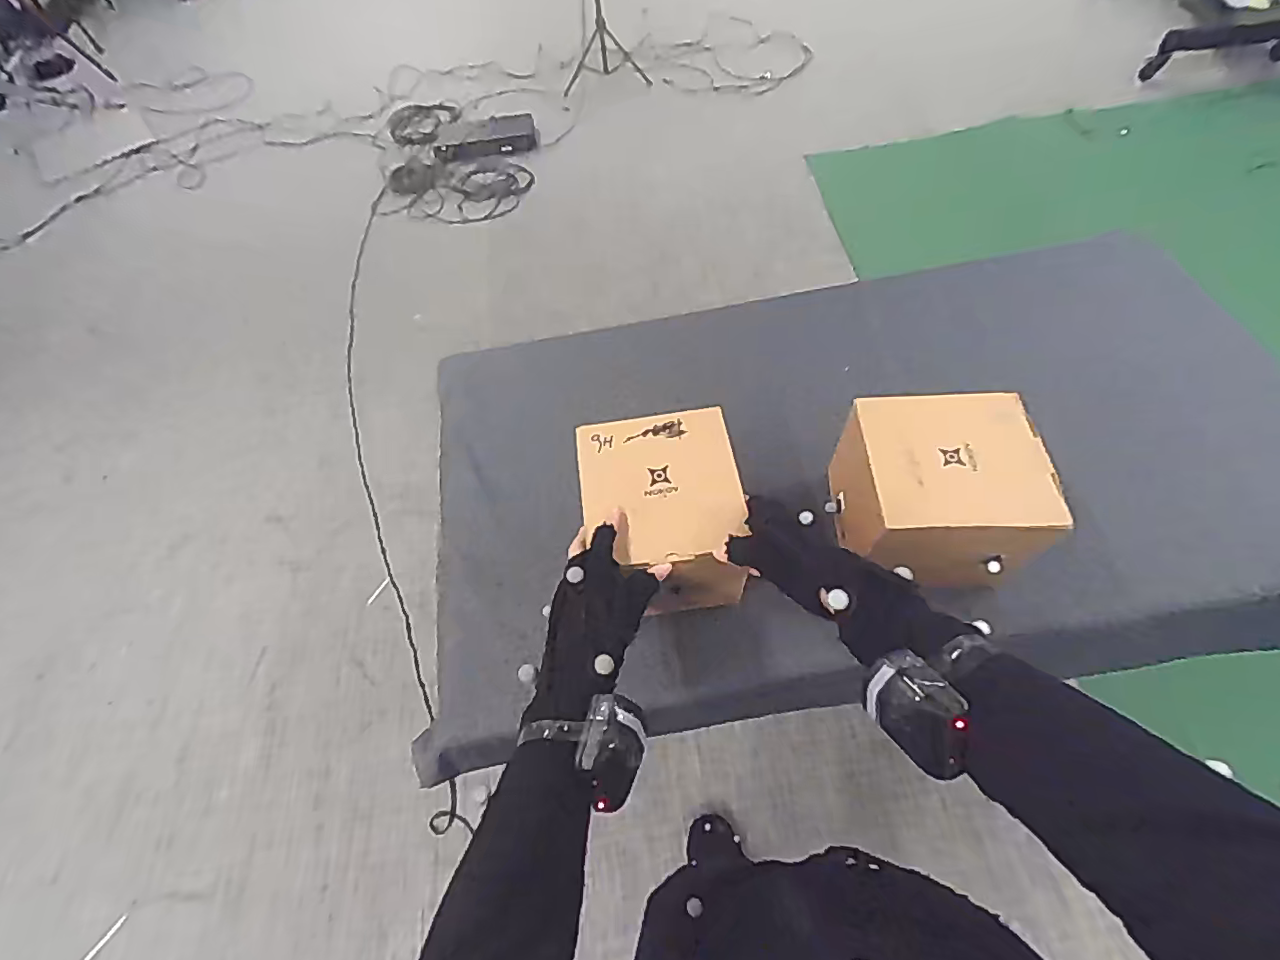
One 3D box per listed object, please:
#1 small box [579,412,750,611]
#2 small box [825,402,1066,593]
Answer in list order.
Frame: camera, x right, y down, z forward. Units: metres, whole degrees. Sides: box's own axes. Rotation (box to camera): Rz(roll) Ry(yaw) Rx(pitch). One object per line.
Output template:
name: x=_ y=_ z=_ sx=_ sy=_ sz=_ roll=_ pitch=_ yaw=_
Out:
small box: x=0.026 y=0.047 z=0.637 sx=0.168 sy=0.176 sz=0.179 roll=-7 pitch=61 yaw=-1
small box: x=0.332 y=0.026 z=0.632 sx=0.179 sy=0.176 sz=0.168 roll=-1 pitch=59 yaw=5
